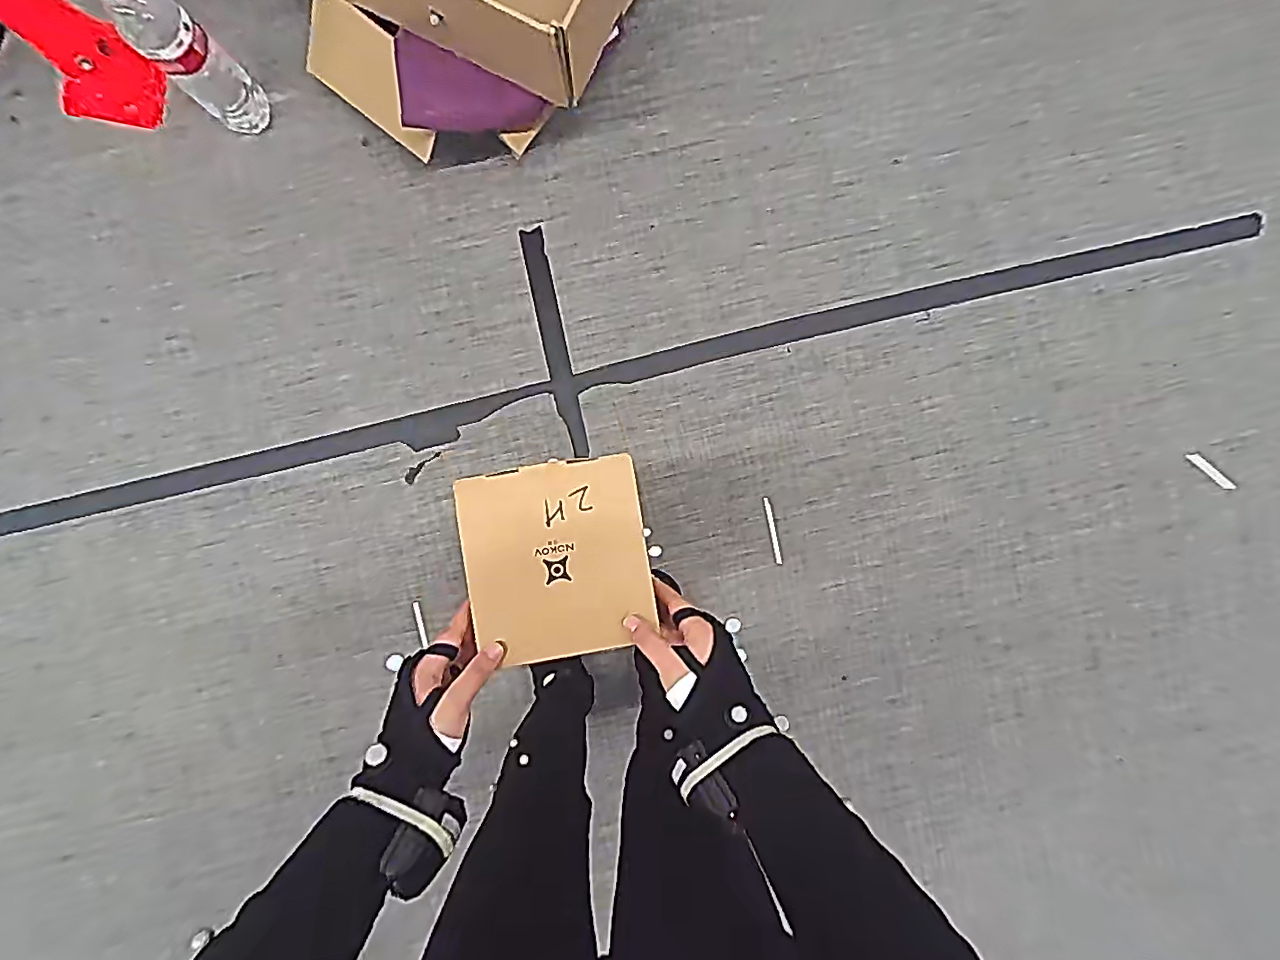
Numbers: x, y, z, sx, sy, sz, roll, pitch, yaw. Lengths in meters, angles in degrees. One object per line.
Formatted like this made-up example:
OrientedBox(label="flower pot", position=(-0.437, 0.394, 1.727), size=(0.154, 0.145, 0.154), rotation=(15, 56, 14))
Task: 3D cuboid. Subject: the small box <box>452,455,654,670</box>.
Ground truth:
OrientedBox(label="small box", position=(-0.082, 0.078, 0.573), size=(0.168, 0.176, 0.179), rotation=(-10, 87, -4))
